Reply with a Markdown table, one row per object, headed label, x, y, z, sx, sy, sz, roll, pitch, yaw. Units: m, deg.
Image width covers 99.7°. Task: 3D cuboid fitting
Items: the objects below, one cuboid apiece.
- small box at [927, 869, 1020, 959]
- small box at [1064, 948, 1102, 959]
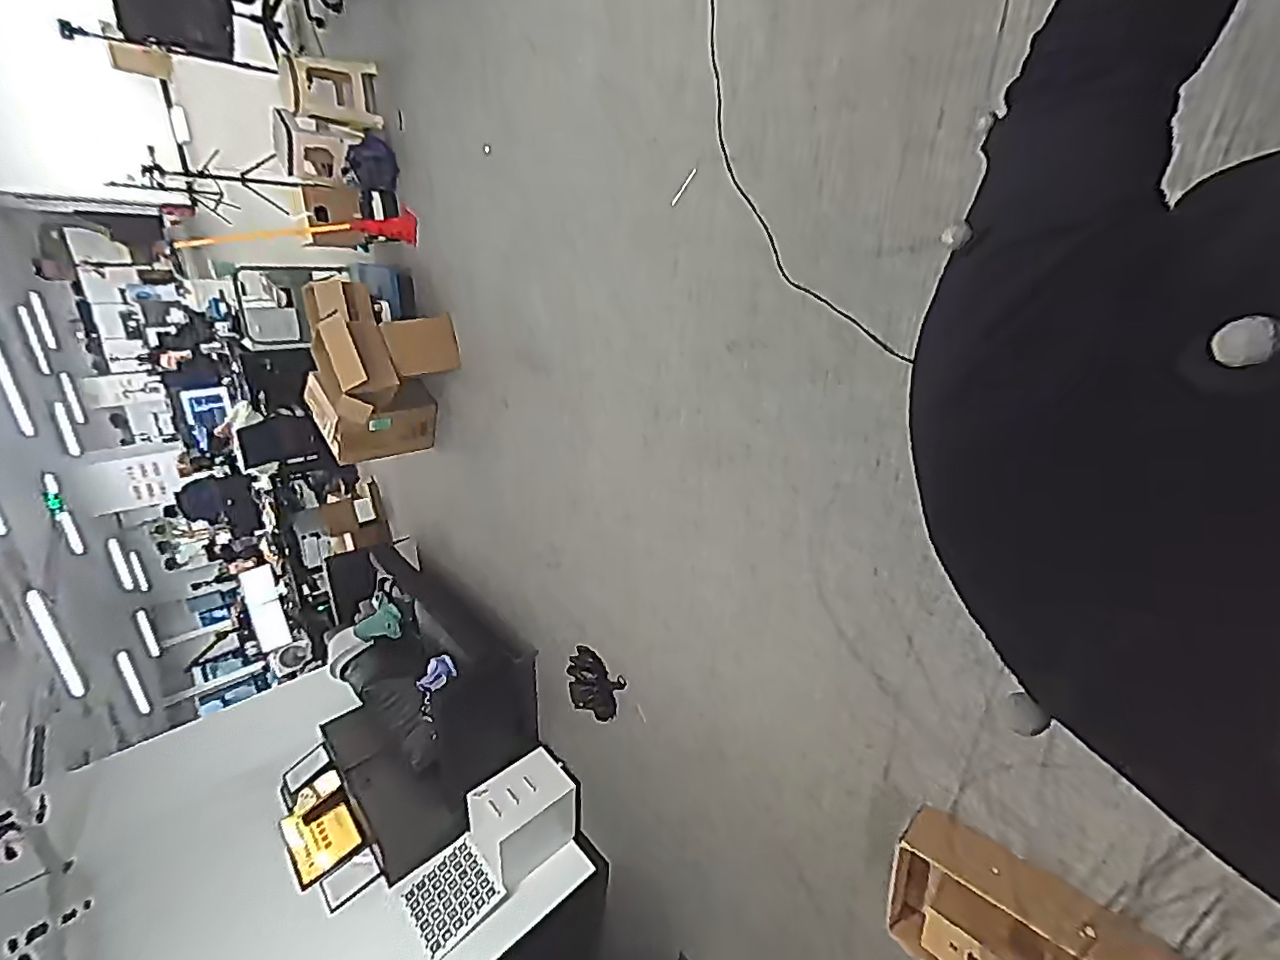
| label | x | y | z | sx | sy | sz | roll | pitch | yaw |
| --- | --- | --- | --- | --- | --- | --- | --- | --- | --- |
| small box | 0.958 | 1.279 | 1.549 | 0.179 | 0.176 | 0.168 | 18 | 118 | 45 |
| small box | 1.150 | 1.333 | 1.350 | 0.179 | 0.176 | 0.168 | 13 | 115 | 47 |
